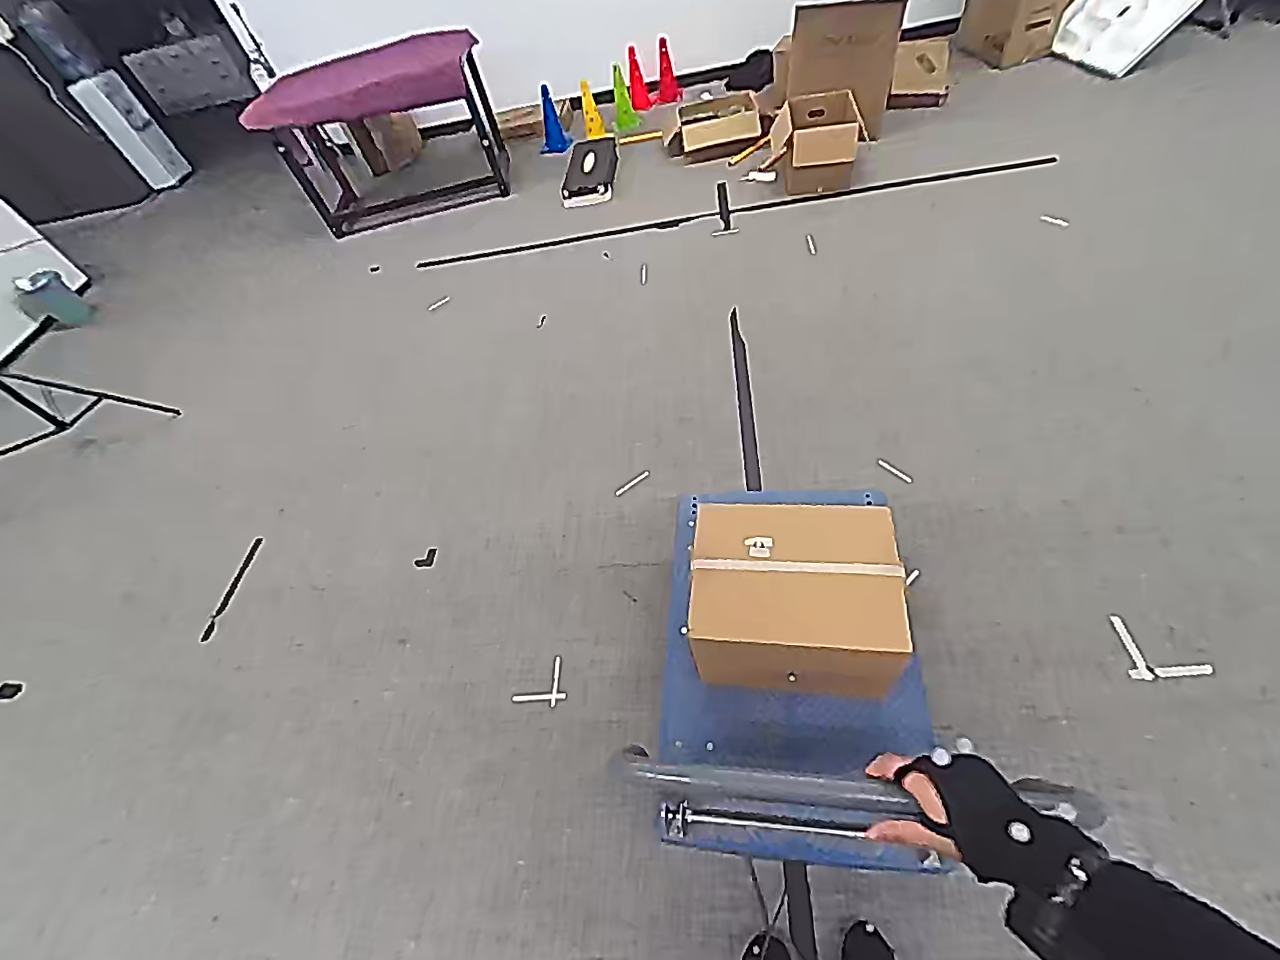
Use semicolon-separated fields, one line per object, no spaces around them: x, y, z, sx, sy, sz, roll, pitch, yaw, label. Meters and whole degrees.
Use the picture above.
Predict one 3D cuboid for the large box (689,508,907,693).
0.336;0.274;1.218;0.408;0.320;0.320;0;53;13;large box
